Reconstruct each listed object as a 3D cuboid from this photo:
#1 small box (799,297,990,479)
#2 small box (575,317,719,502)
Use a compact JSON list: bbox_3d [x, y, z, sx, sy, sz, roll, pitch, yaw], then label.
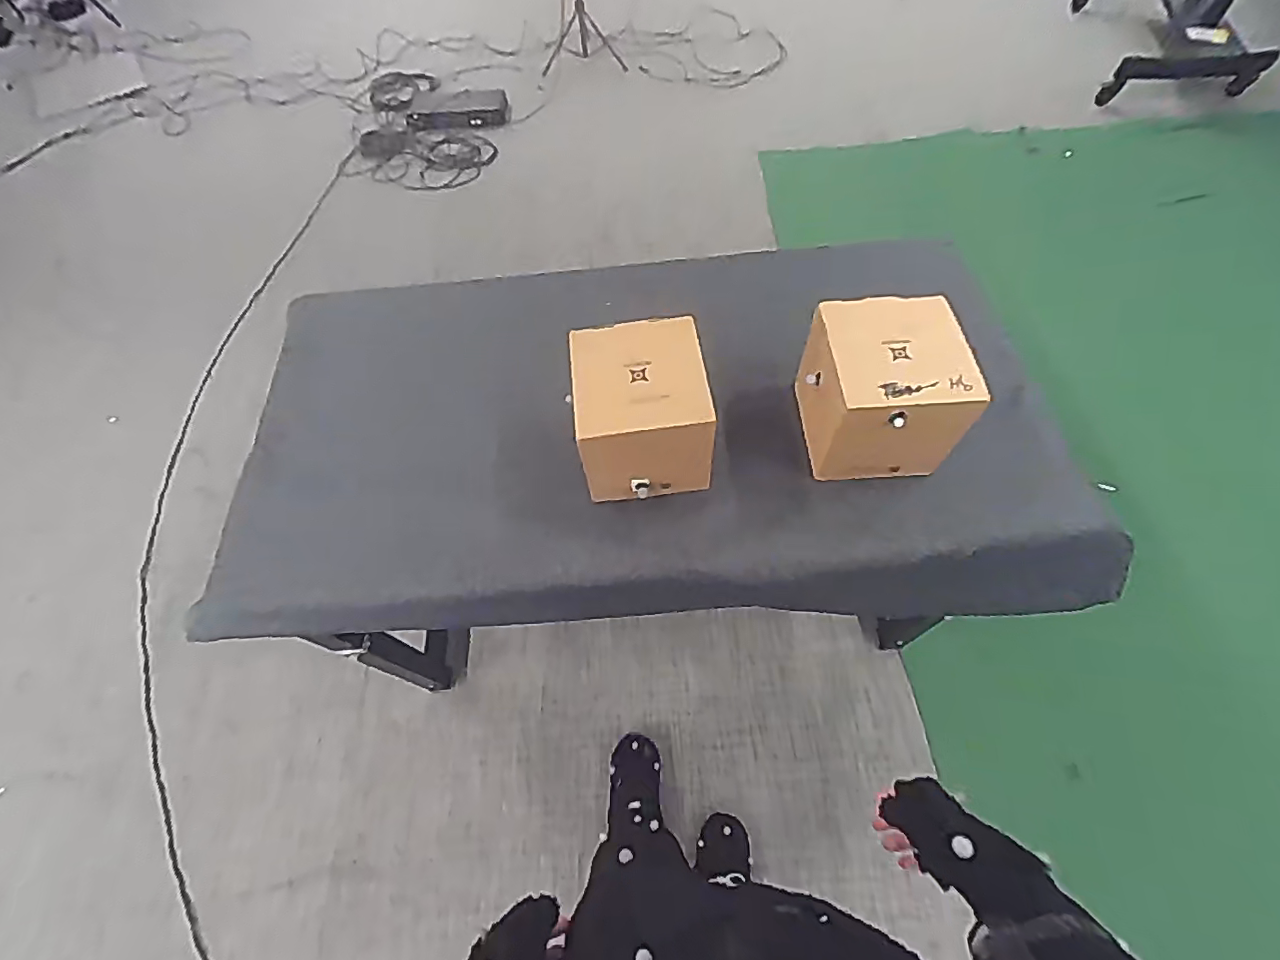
[{"bbox_3d":[0.323,-0.120,0.733,0.168,0.176,0.179,-4,59,3],"label":"small box"},{"bbox_3d":[0.008,-0.091,0.740,0.168,0.176,0.179,-8,60,0],"label":"small box"}]
